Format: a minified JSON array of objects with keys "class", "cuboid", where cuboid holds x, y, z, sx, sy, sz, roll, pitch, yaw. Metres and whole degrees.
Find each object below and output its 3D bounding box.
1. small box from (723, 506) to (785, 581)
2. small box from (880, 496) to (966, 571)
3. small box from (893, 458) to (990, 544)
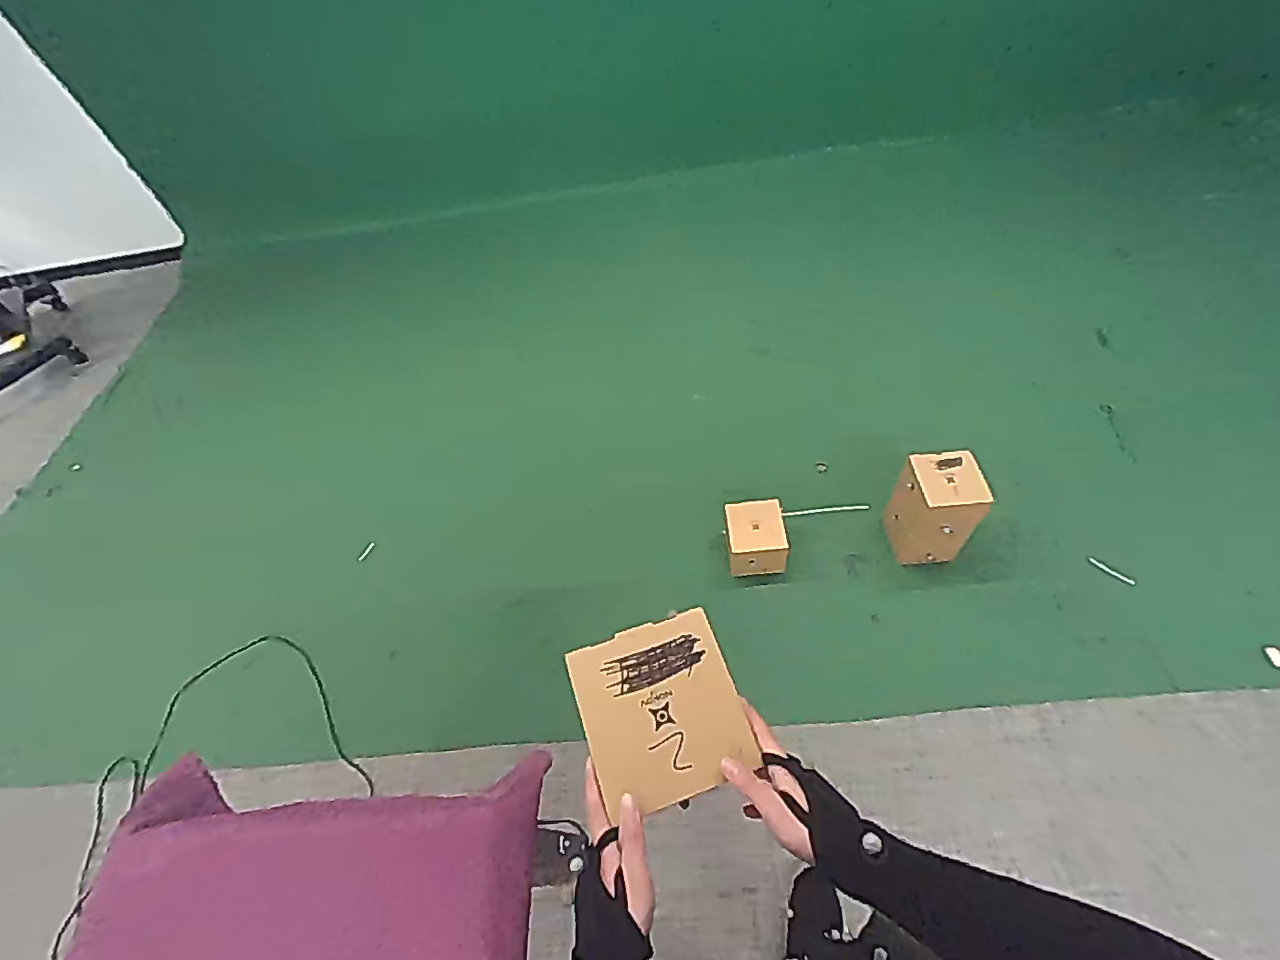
[{"class":"small box","cuboid":[0.353,0.206,1.695,0.168,0.176,0.179,-6,52,5]},{"class":"small box","cuboid":[0.852,0.159,1.650,0.168,0.176,0.179,-5,53,5]},{"class":"small box","cuboid":[0.834,0.061,1.519,0.168,0.176,0.179,-5,53,5]}]
